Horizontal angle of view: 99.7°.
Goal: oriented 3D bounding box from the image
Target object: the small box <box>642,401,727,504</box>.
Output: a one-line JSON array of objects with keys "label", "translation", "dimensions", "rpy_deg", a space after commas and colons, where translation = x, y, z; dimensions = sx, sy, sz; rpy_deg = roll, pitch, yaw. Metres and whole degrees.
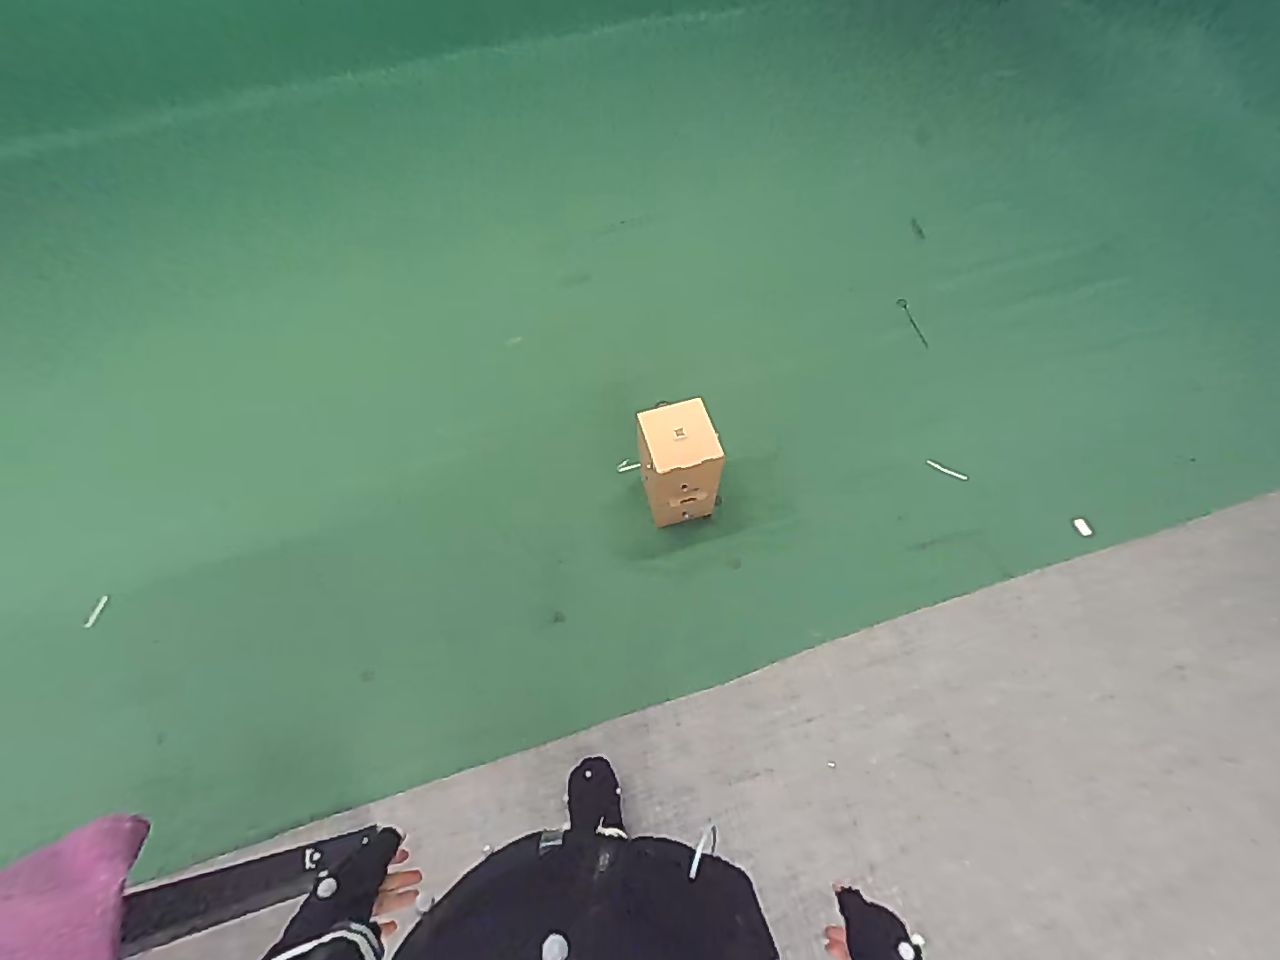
[{"label": "small box", "translation": [0.104, -0.066, 1.355], "dimensions": [0.168, 0.176, 0.179], "rpy_deg": [-16, 64, -6]}]

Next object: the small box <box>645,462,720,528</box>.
[{"label": "small box", "translation": [0.110, 0.009, 1.500], "dimensions": [0.168, 0.176, 0.179], "rpy_deg": [-14, 64, -5]}]
